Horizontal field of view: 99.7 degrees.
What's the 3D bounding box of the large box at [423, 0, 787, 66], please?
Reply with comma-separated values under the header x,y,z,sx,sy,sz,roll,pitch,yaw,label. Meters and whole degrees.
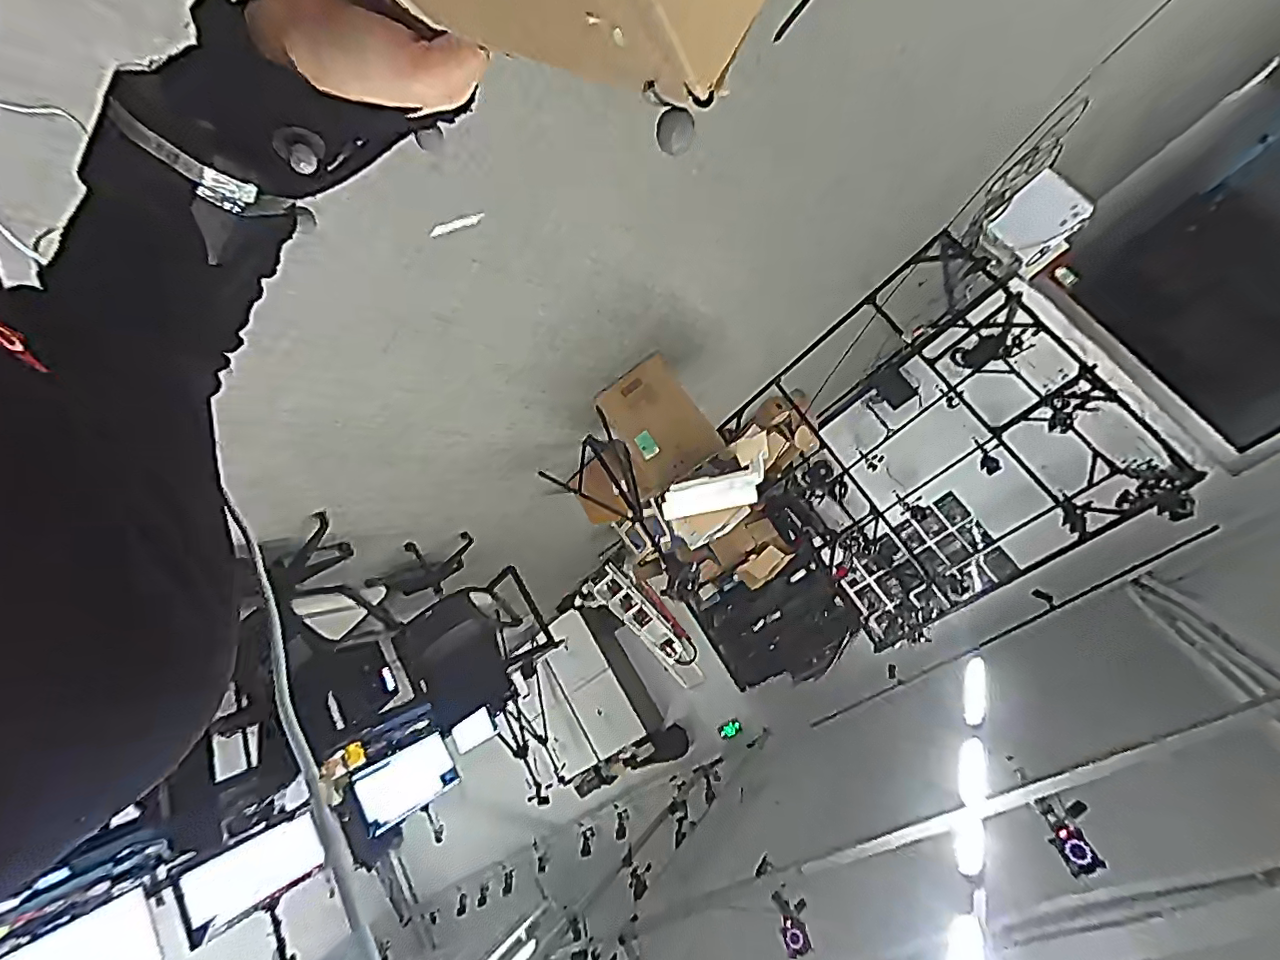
x,y,z,sx,sy,sz,roll,pitch,yaw,label
-0.088,-0.351,0.030,0.320,0.320,0.408,-56,152,12,large box
